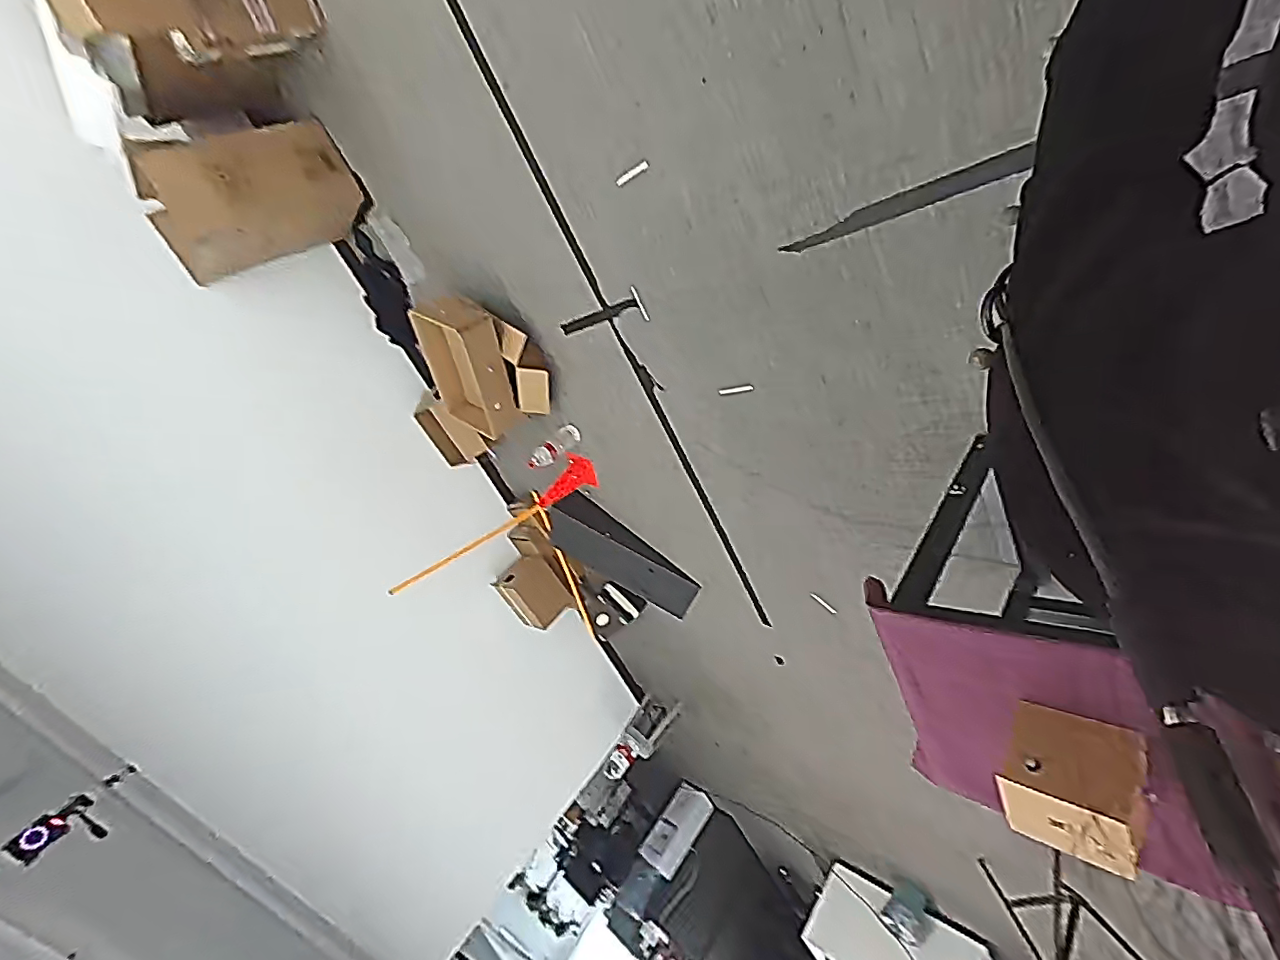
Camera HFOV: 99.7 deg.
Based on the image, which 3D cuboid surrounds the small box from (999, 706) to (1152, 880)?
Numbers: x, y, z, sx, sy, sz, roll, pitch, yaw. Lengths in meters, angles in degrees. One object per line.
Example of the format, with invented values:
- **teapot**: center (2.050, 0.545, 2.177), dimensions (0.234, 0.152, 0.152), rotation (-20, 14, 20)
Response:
- **small box**: center (0.754, 0.524, 0.935), dimensions (0.179, 0.176, 0.168), rotation (1, 127, 48)
